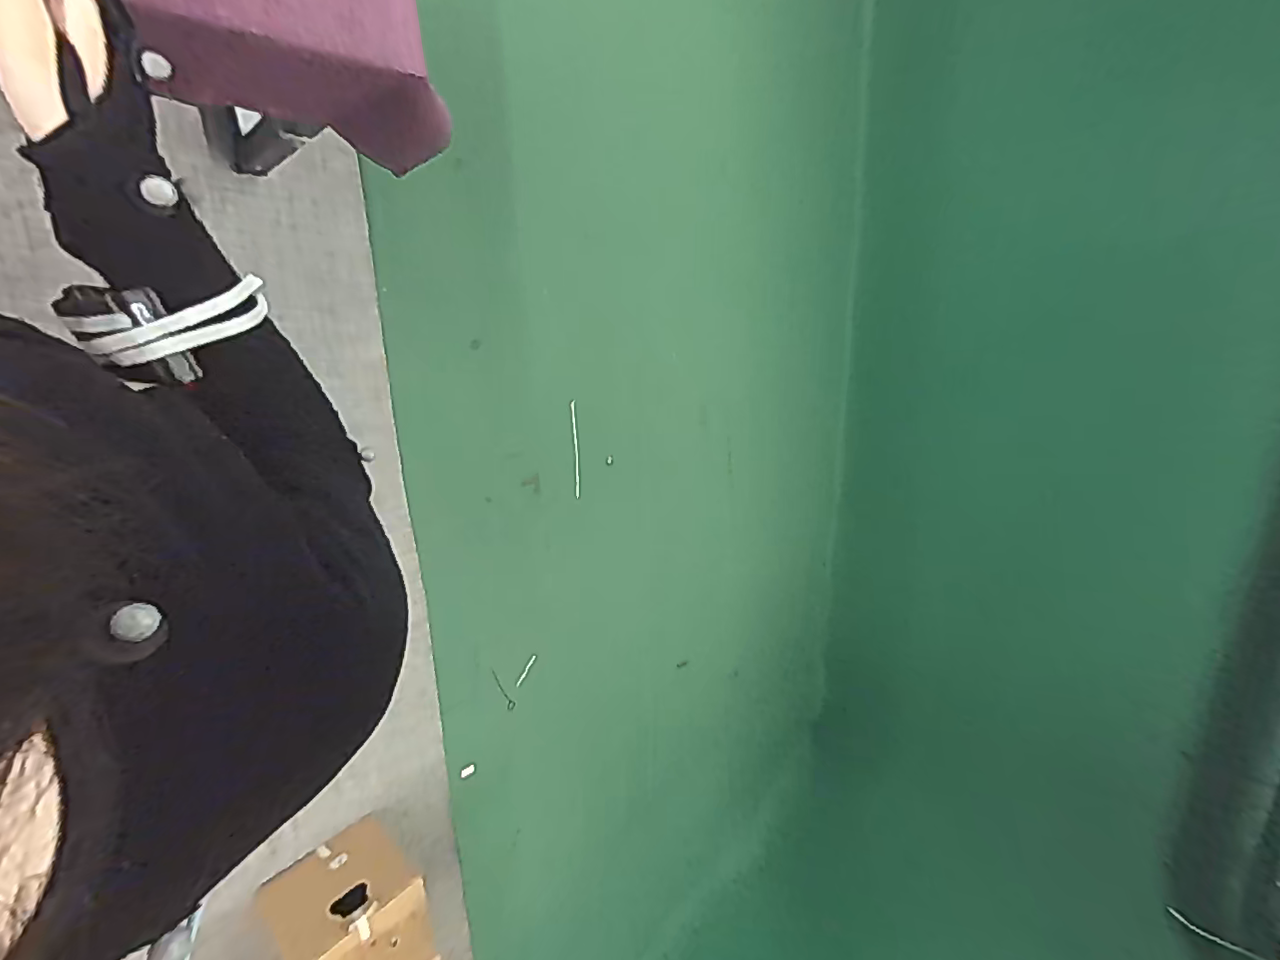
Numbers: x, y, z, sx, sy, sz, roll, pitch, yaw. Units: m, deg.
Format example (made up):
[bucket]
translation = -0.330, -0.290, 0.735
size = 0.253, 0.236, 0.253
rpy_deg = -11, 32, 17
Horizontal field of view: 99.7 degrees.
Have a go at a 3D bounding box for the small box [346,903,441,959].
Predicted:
[small box]
translation = -0.622, 1.230, 1.355
size = 0.168, 0.176, 0.179
rpy_deg = -5, 103, -49
